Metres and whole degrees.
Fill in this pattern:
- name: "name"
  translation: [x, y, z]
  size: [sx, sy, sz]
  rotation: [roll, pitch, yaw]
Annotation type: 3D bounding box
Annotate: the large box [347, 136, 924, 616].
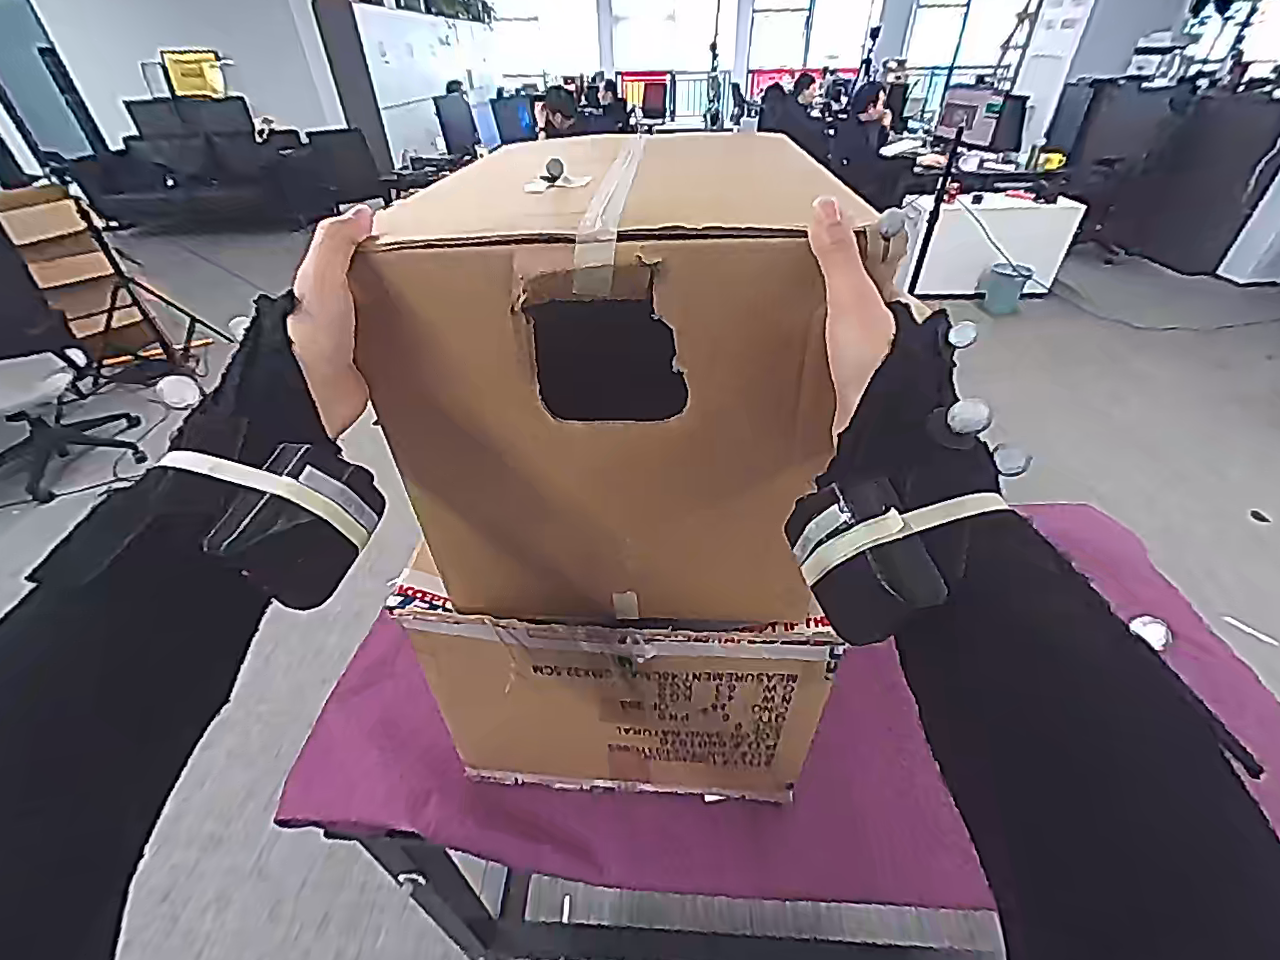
- name: "large box"
  translation: [0.004, -0.124, 0.526]
  size: [0.320, 0.320, 0.408]
  rotation: [-1, 39, 4]
